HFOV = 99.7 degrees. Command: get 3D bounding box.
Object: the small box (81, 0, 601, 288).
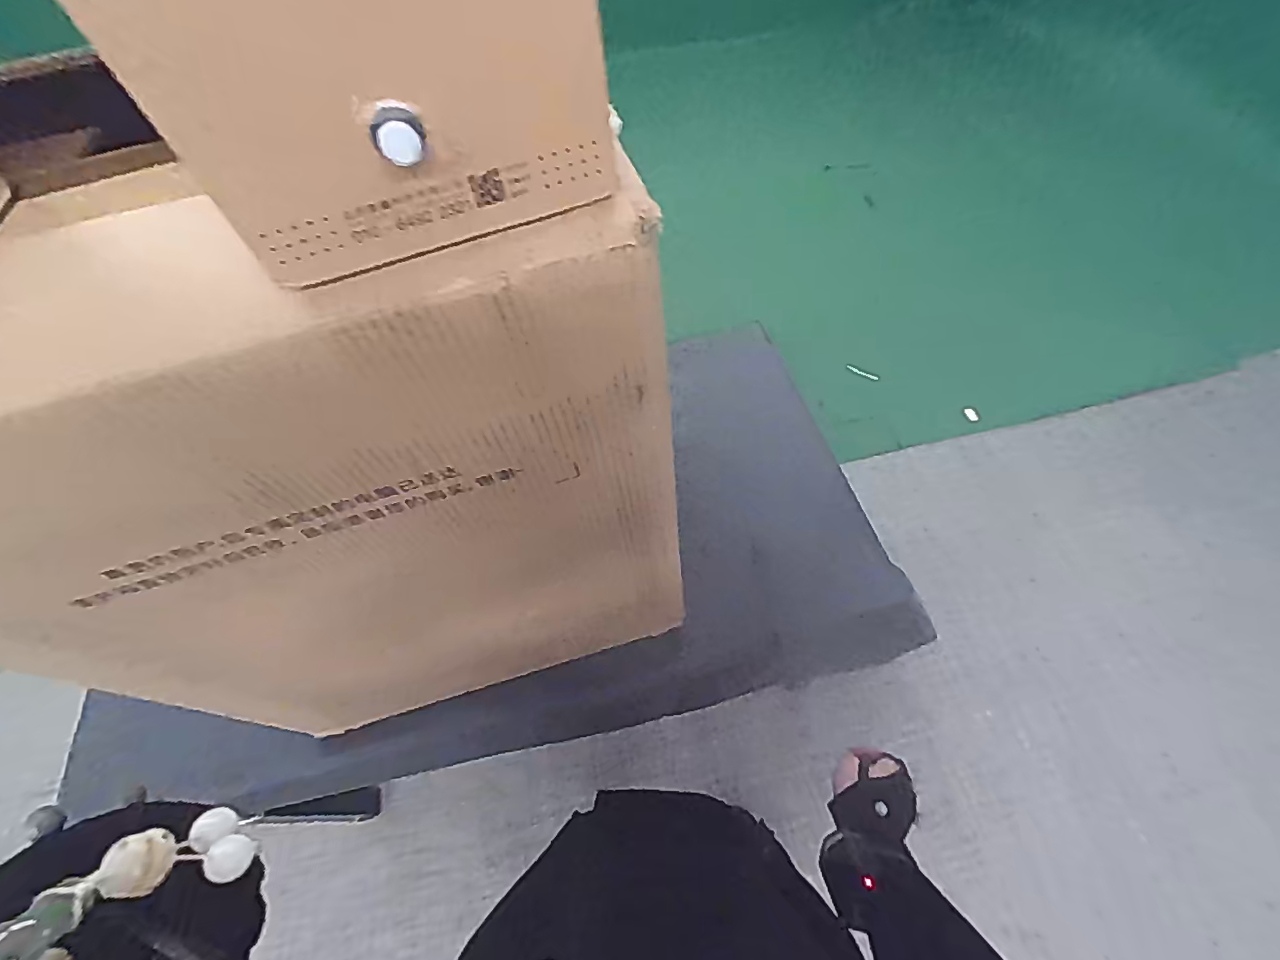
[{"bbox_3d":[-0.126,-0.220,0.239,0.168,0.176,0.179,-20,59,-8],"label":"small box"}]
